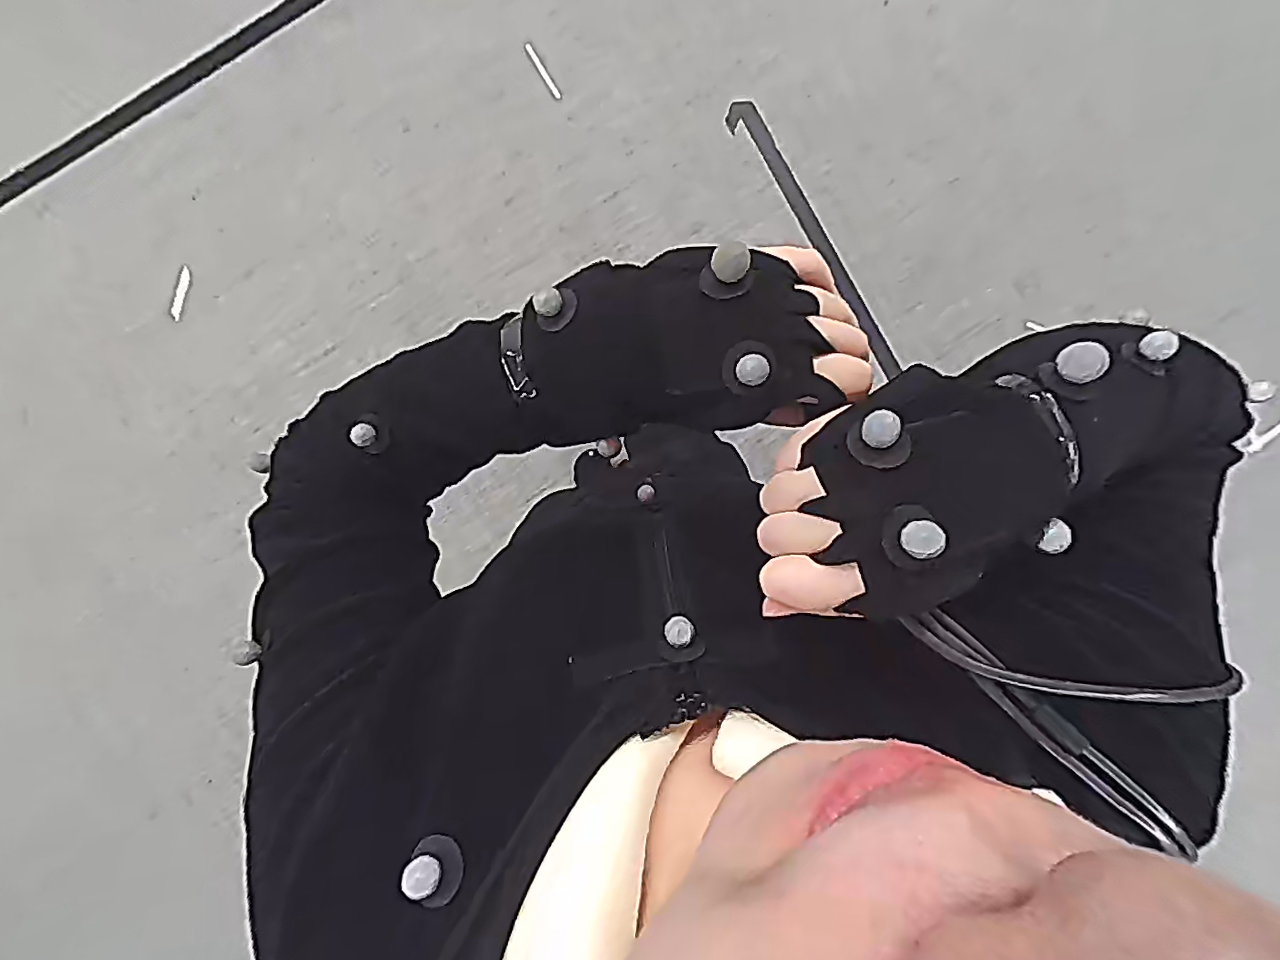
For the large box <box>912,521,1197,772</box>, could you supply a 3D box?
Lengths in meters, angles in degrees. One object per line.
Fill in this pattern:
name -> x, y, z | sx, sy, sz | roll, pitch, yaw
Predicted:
large box -> 0.934, 0.359, 1.264 | 0.320, 0.320, 0.408 | -32, 96, -1
